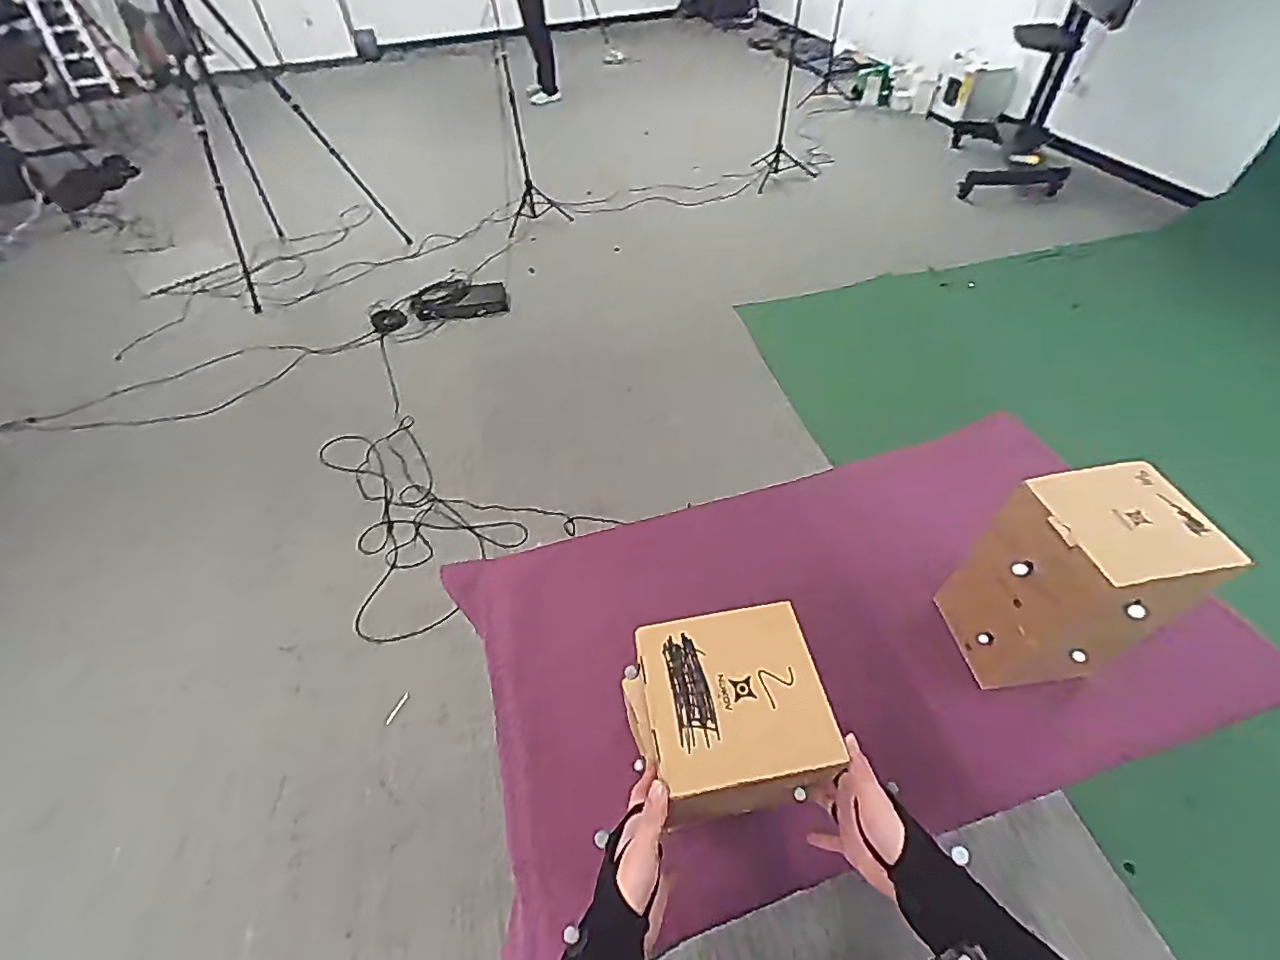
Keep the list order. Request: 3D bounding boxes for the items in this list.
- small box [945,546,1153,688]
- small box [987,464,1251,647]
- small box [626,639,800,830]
[{"bbox_3d":[0.609,0.210,0.842,0.179,0.176,0.168,-6,49,-2],"label":"small box"},{"bbox_3d":[0.601,0.104,0.718,0.179,0.176,0.168,-9,50,-3],"label":"small box"},{"bbox_3d":[0.091,0.354,0.750,0.179,0.176,0.168,-19,50,-11],"label":"small box"}]
